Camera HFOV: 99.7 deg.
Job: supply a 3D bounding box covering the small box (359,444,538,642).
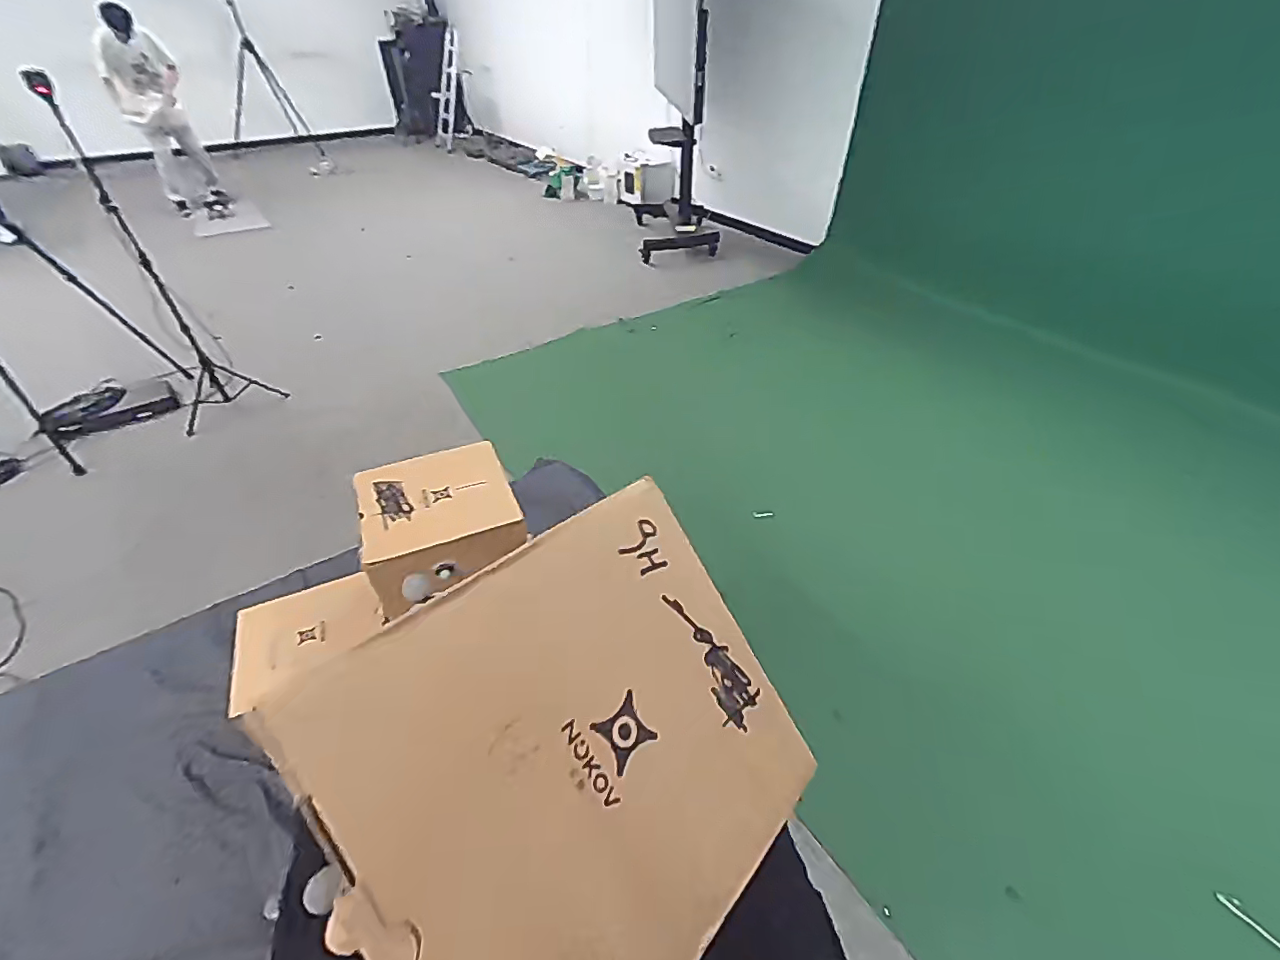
[{"bbox_3d":[-0.246,0.082,0.711,0.179,0.176,0.168,-16,45,-19],"label":"small box"}]
